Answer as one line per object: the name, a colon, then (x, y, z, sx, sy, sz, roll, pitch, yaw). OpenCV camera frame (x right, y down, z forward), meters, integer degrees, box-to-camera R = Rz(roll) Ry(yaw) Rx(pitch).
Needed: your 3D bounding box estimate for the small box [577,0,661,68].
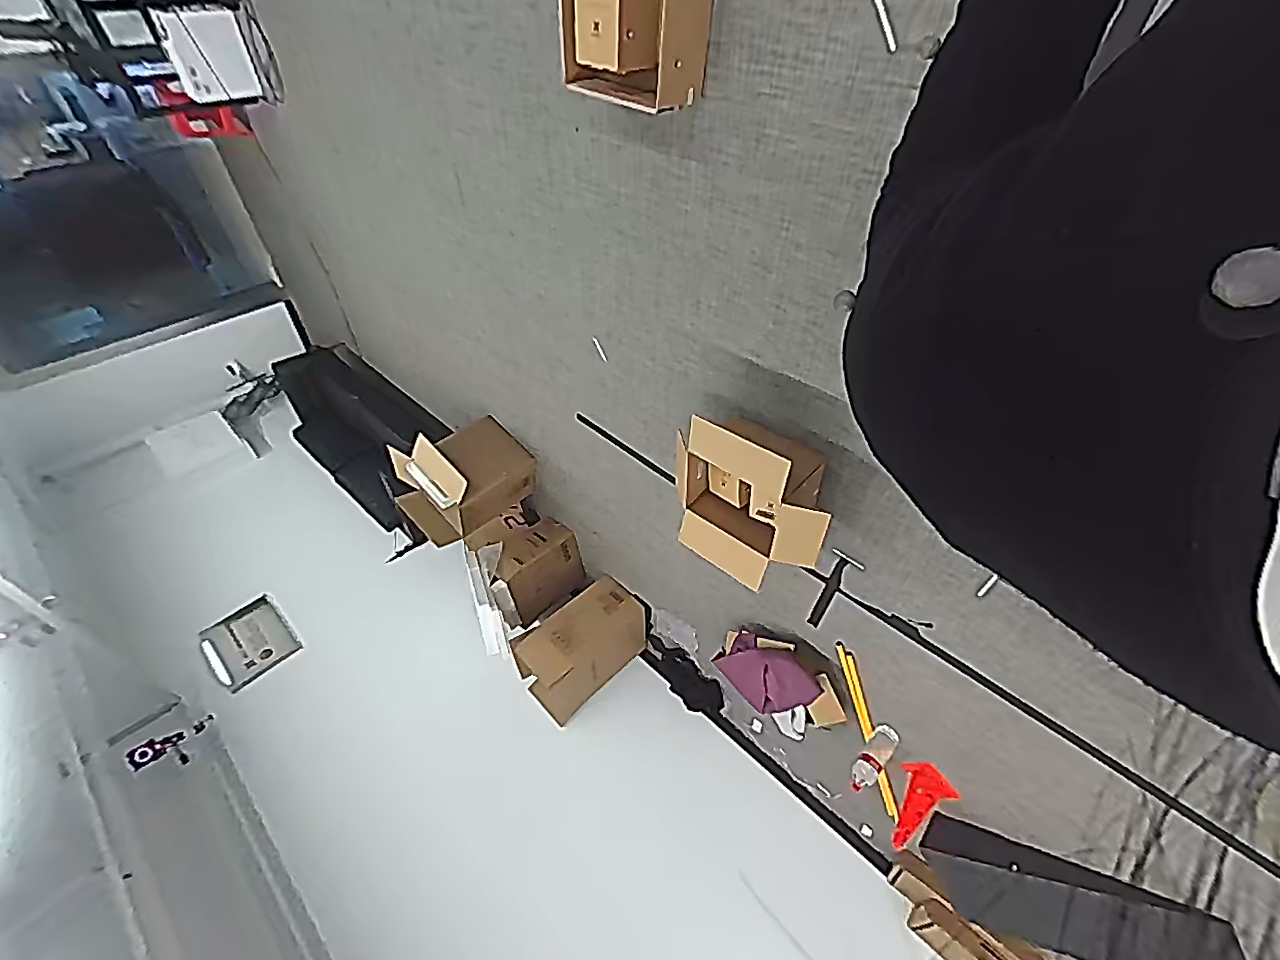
small box: (-0.057, -1.266, 1.490, 0.168, 0.176, 0.179, 34, 142, 26)
